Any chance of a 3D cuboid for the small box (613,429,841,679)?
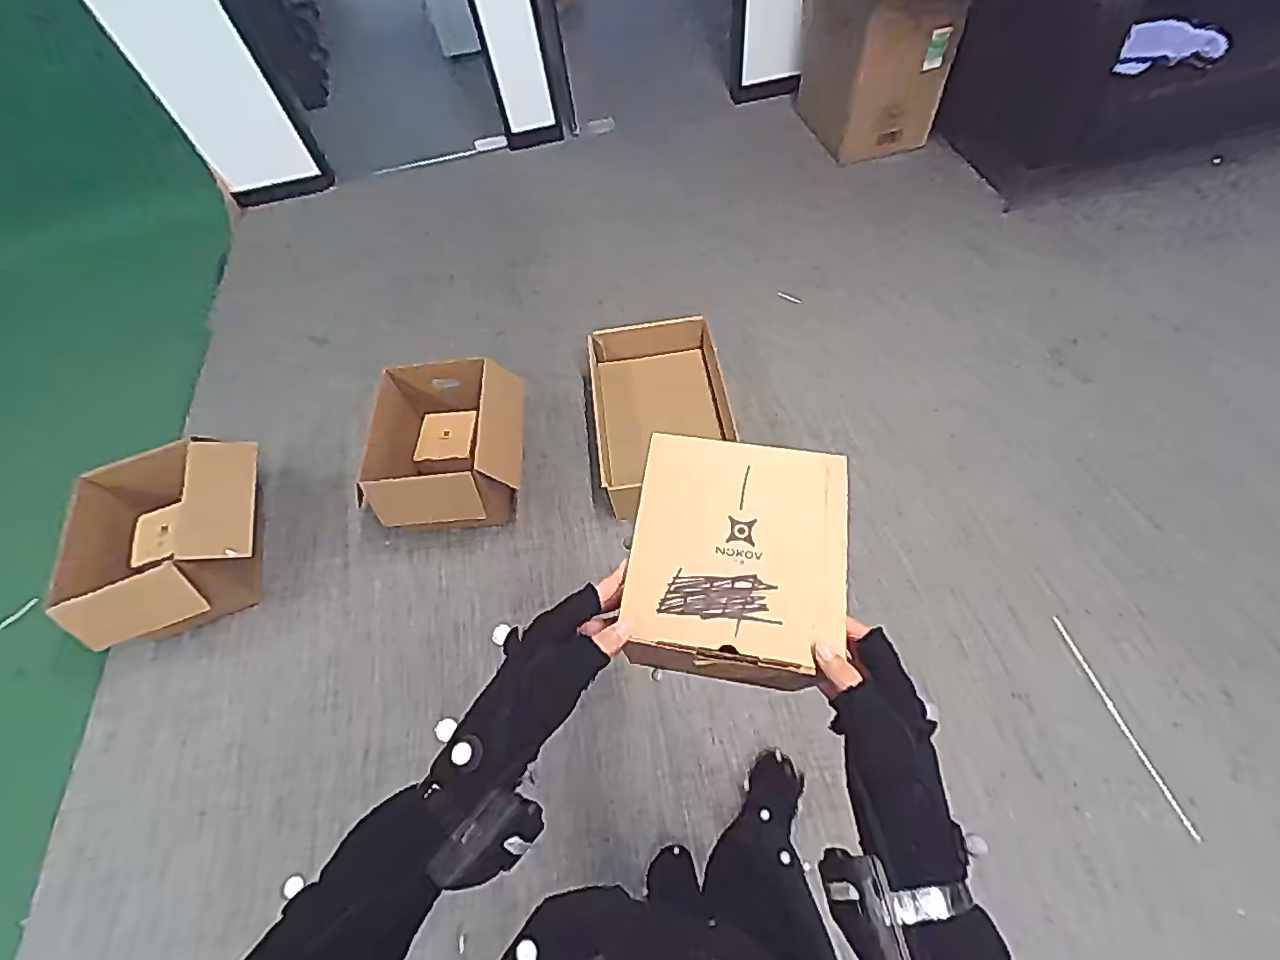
[{"bbox_3d":[0.078,0.077,0.500,0.168,0.176,0.179,8,65,6],"label":"small box"}]
